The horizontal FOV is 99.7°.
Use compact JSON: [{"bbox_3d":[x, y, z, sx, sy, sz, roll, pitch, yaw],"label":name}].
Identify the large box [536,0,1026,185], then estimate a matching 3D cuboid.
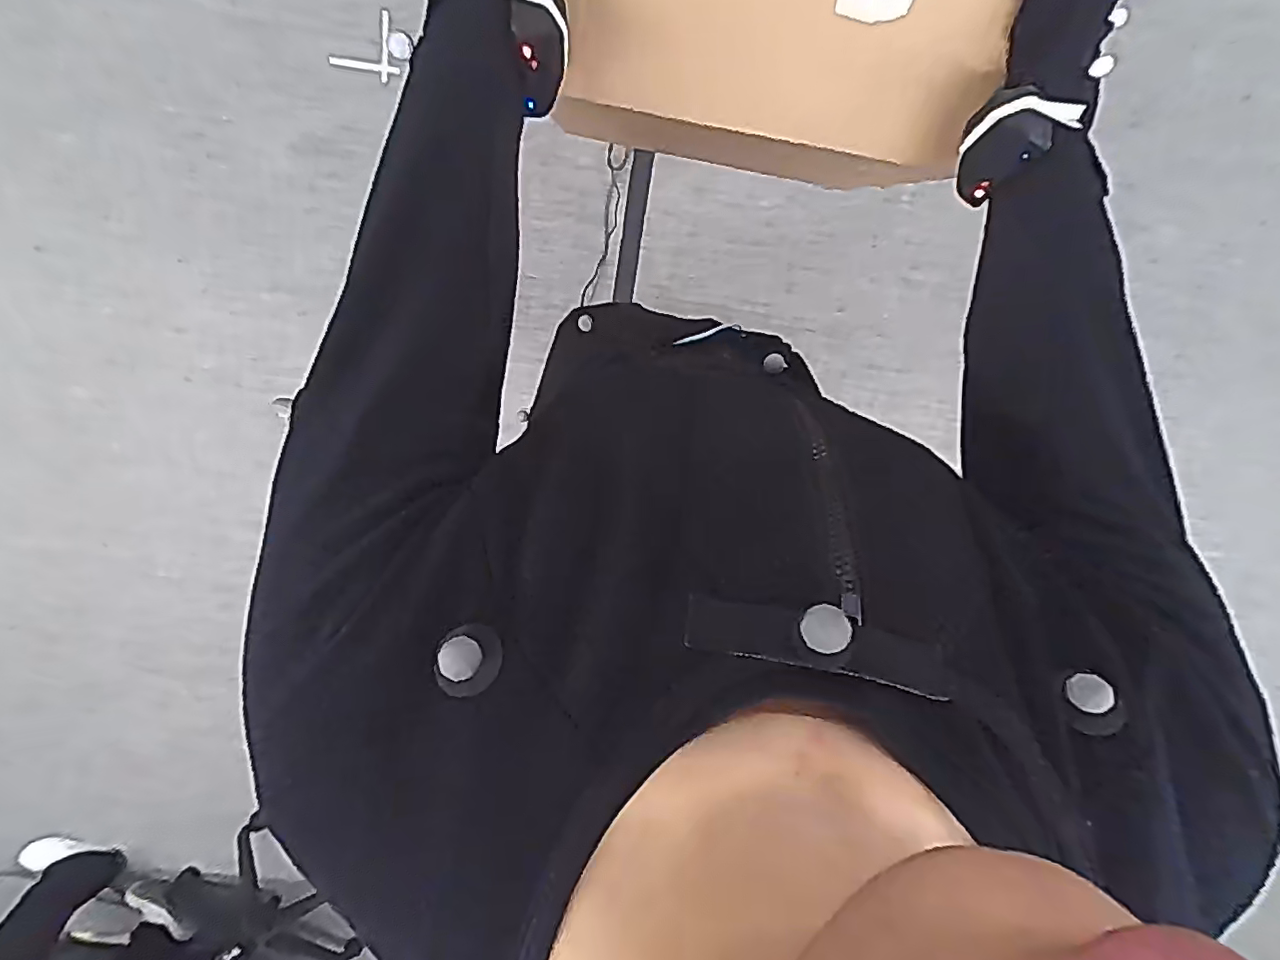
[{"bbox_3d":[0.120,-0.507,0.548,0.408,0.320,0.320,7,117,-6],"label":"large box"}]
